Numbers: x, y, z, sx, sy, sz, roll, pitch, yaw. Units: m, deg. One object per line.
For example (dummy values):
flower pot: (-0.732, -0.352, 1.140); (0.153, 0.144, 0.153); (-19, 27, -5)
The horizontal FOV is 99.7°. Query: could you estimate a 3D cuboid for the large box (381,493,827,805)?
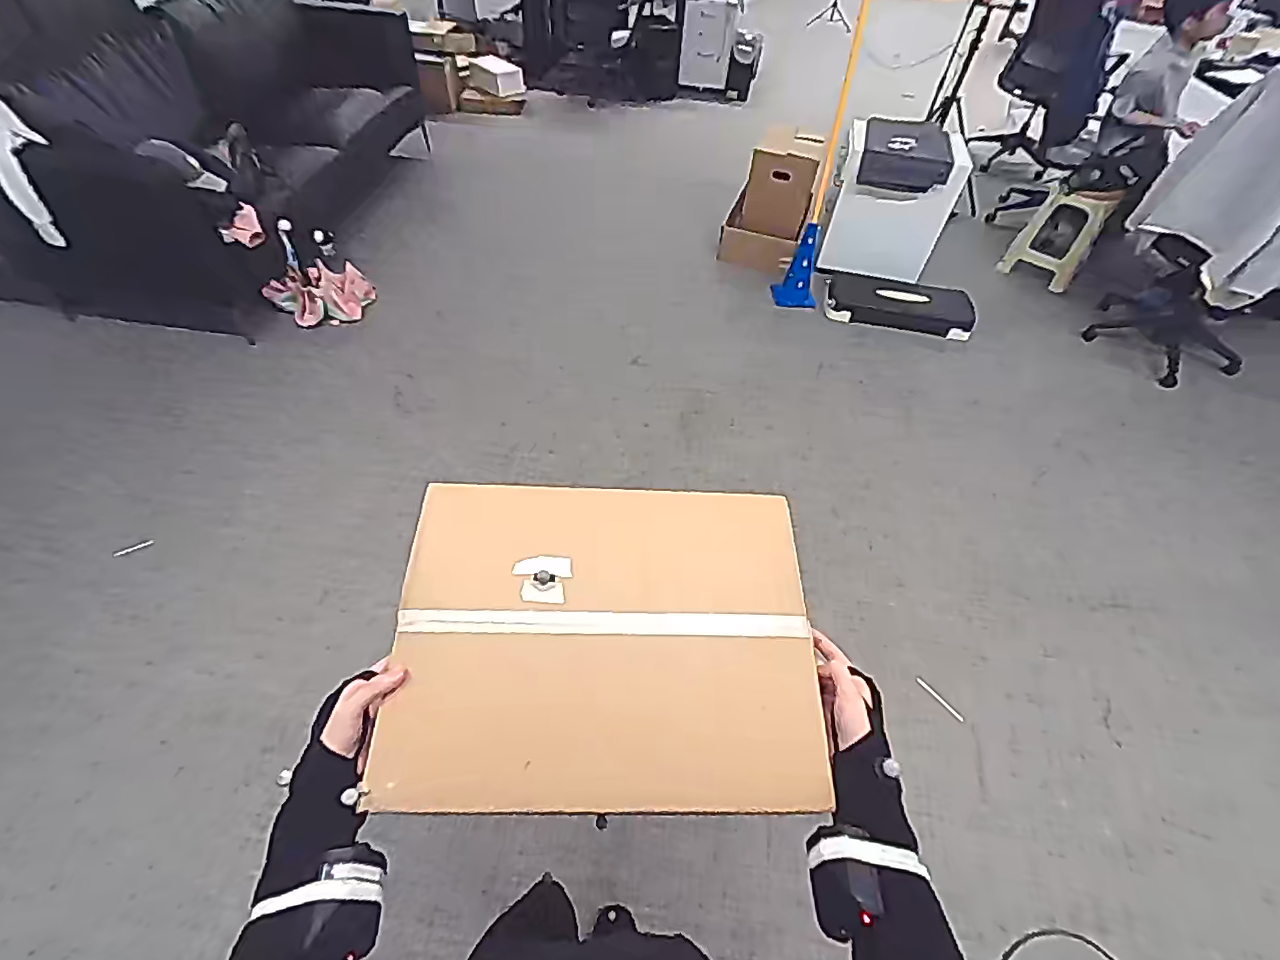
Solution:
large box: (-0.035, 0.224, 0.680); (0.408, 0.320, 0.320); (2, 58, -3)
